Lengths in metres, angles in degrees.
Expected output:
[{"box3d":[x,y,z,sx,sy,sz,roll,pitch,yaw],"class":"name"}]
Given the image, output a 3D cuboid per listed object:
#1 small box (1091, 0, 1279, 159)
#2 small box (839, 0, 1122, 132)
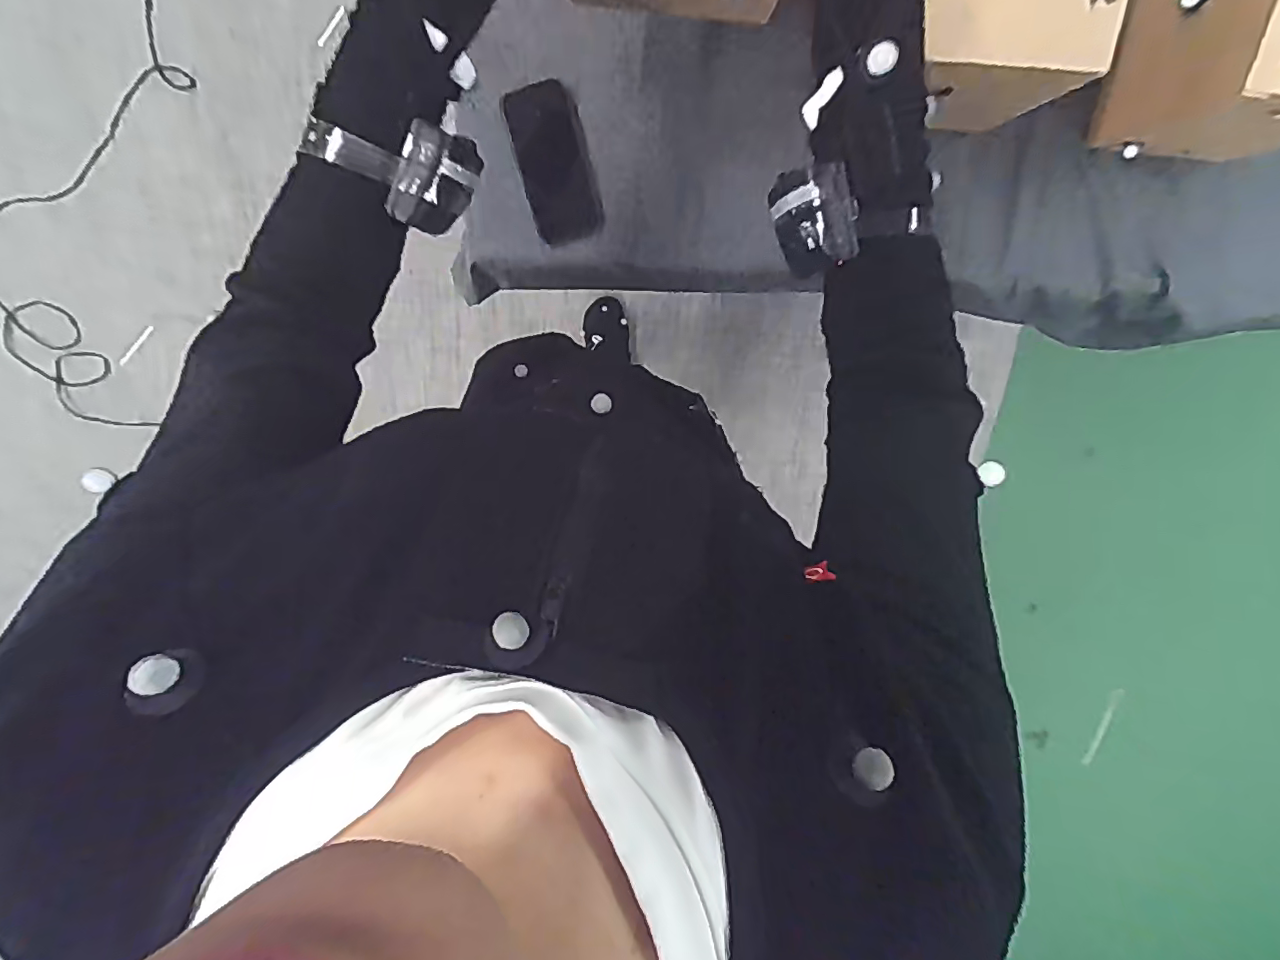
[{"box3d":[0.591,-0.428,0.517,0.168,0.176,0.179,4,107,-3],"class":"small box"},{"box3d":[0.306,-0.445,0.504,0.179,0.176,0.168,2,108,-2],"class":"small box"}]
